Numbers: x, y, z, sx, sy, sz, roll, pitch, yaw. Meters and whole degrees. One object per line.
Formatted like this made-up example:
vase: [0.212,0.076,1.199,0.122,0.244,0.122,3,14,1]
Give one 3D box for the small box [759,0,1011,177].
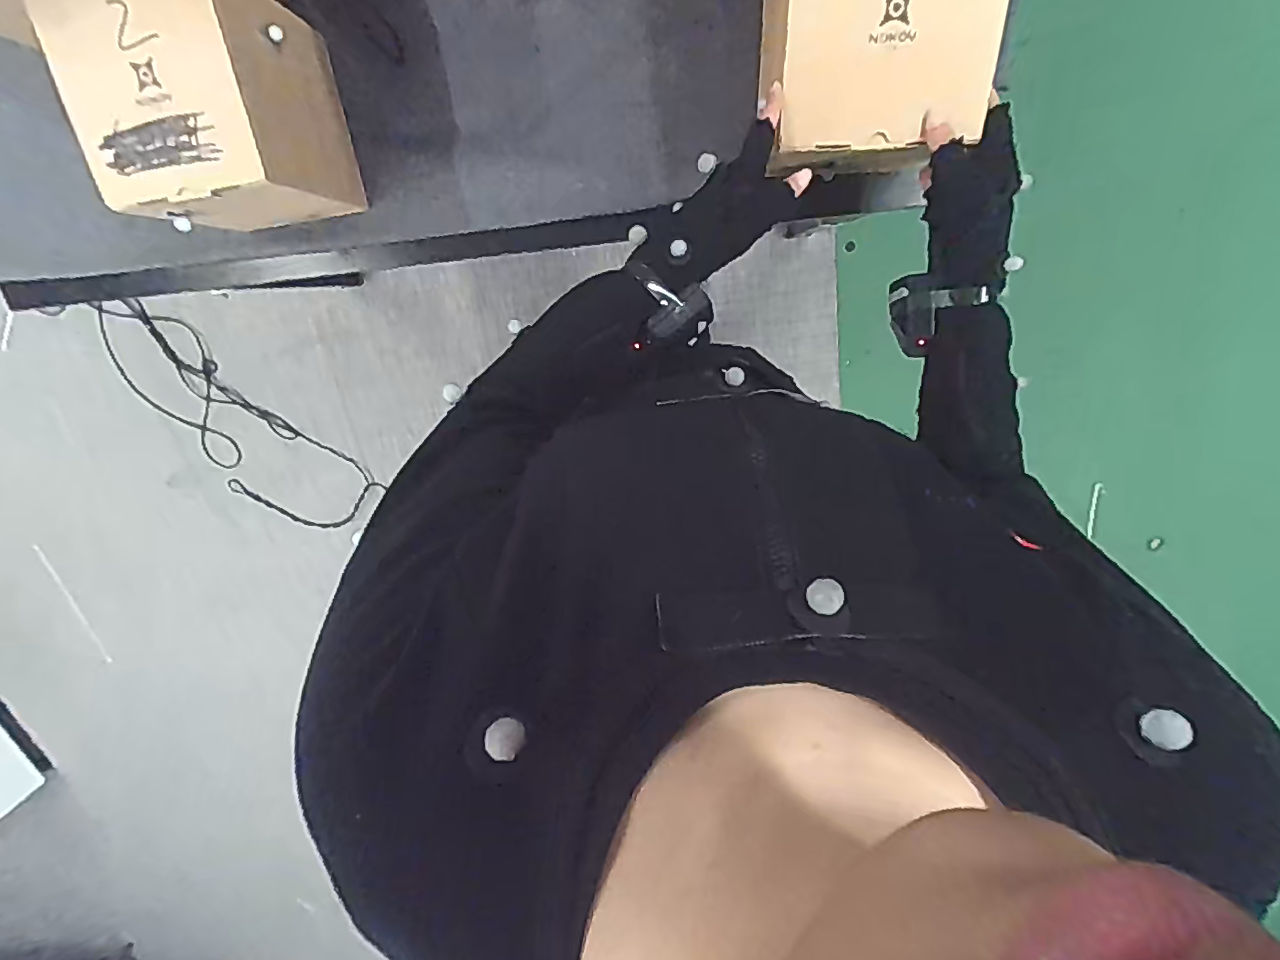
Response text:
small box: [0.204,-0.386,0.491,0.168,0.176,0.179,1,114,4]
